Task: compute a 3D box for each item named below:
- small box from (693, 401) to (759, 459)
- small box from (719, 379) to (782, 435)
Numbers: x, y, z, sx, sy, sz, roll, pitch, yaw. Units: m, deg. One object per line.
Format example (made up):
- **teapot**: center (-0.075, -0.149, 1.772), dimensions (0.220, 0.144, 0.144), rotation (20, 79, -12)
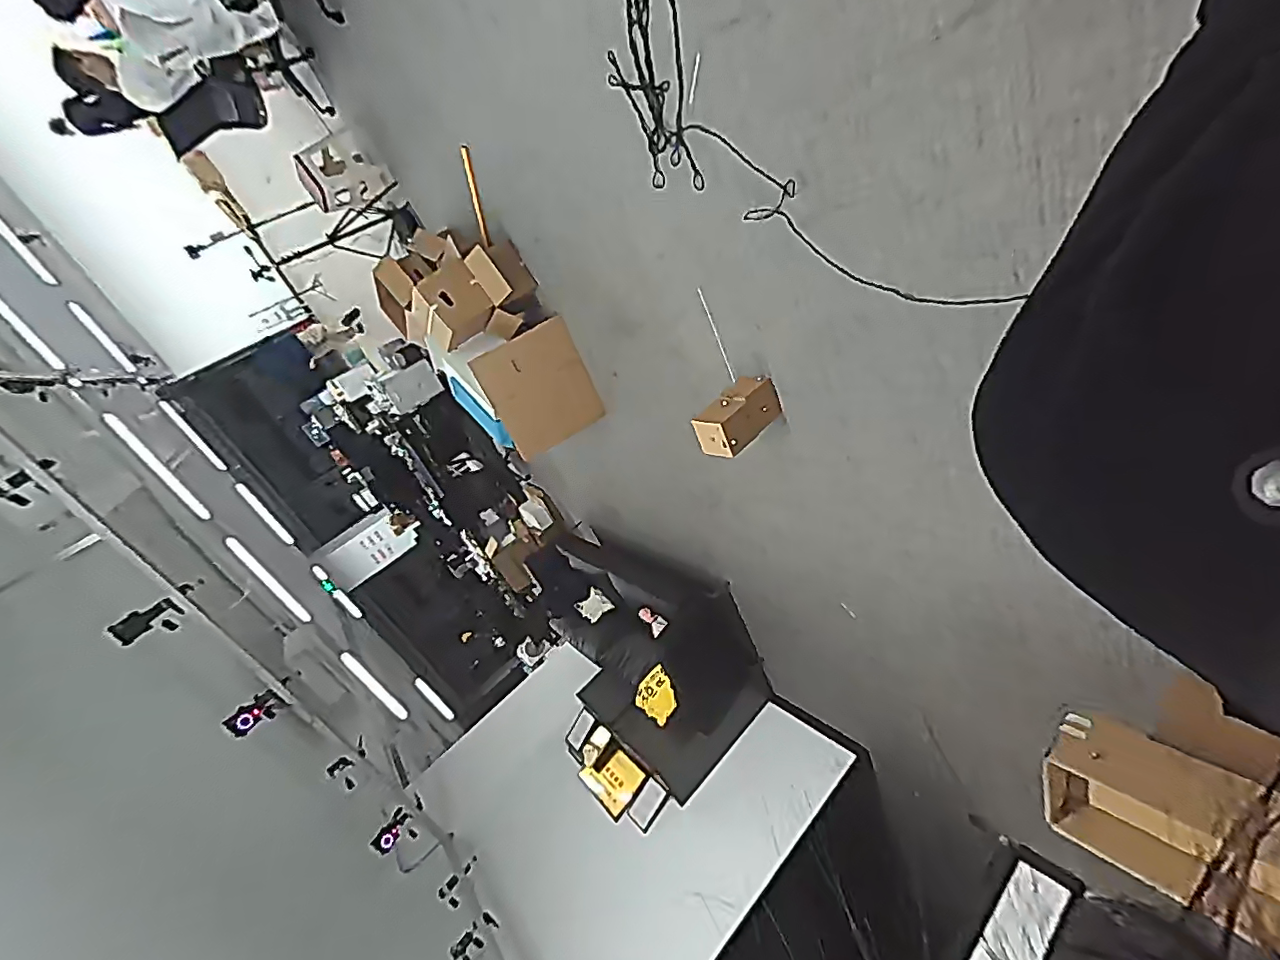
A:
- **small box**: center (0.352, -0.209, 2.201), dimensions (0.179, 0.176, 0.168), rotation (18, 141, 53)
- **small box**: center (0.466, -0.310, 2.264), dimensions (0.168, 0.176, 0.179), rotation (16, 139, 54)
